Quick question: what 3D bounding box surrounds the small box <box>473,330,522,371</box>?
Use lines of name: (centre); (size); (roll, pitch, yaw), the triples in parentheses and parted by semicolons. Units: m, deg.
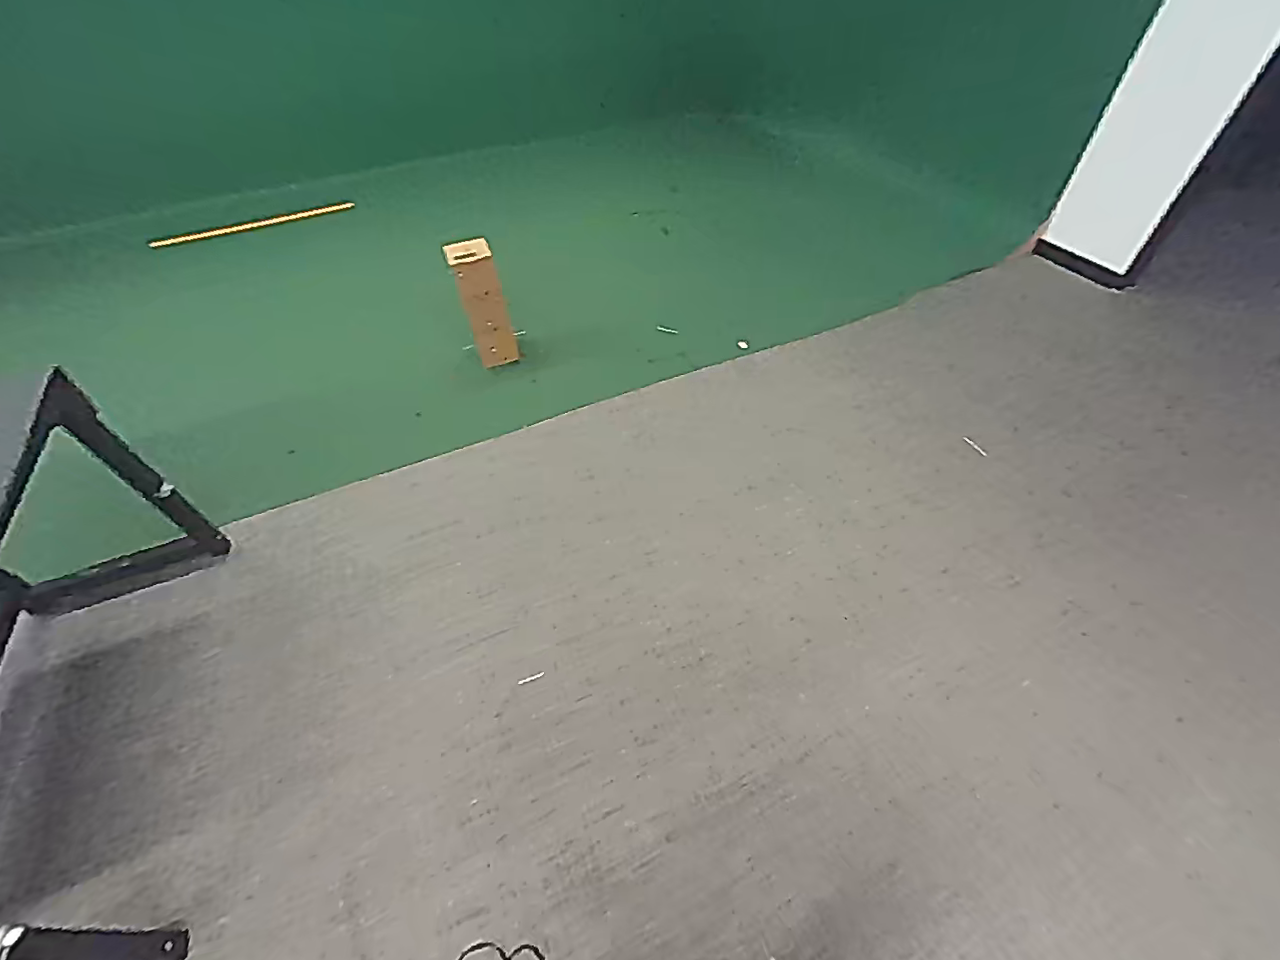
small box: (-0.652, -0.616, 2.467); (0.168, 0.176, 0.179); (-21, 50, -13)

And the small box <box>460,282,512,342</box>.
small box: (-0.666, -0.724, 2.342); (0.168, 0.176, 0.179); (-19, 50, -11)
